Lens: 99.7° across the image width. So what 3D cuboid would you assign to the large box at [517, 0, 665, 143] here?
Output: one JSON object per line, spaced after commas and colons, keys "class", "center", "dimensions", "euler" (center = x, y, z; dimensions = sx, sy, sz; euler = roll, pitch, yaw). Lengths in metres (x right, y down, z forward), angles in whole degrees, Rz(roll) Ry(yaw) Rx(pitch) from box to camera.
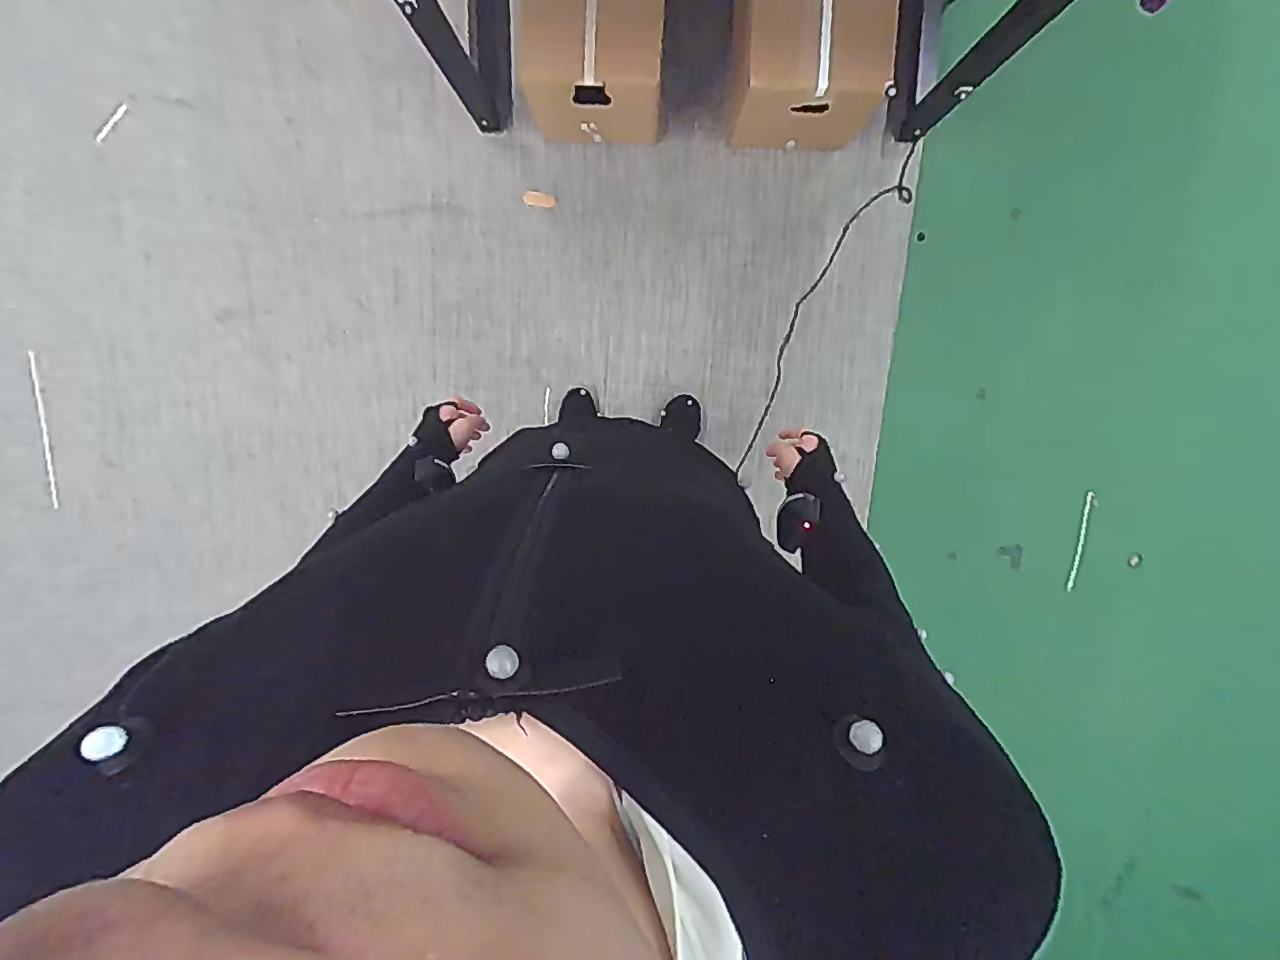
{"class": "large box", "center": [-0.101, -1.081, 1.283], "dimensions": [0.320, 0.320, 0.408], "euler": [3, 99, 0]}
